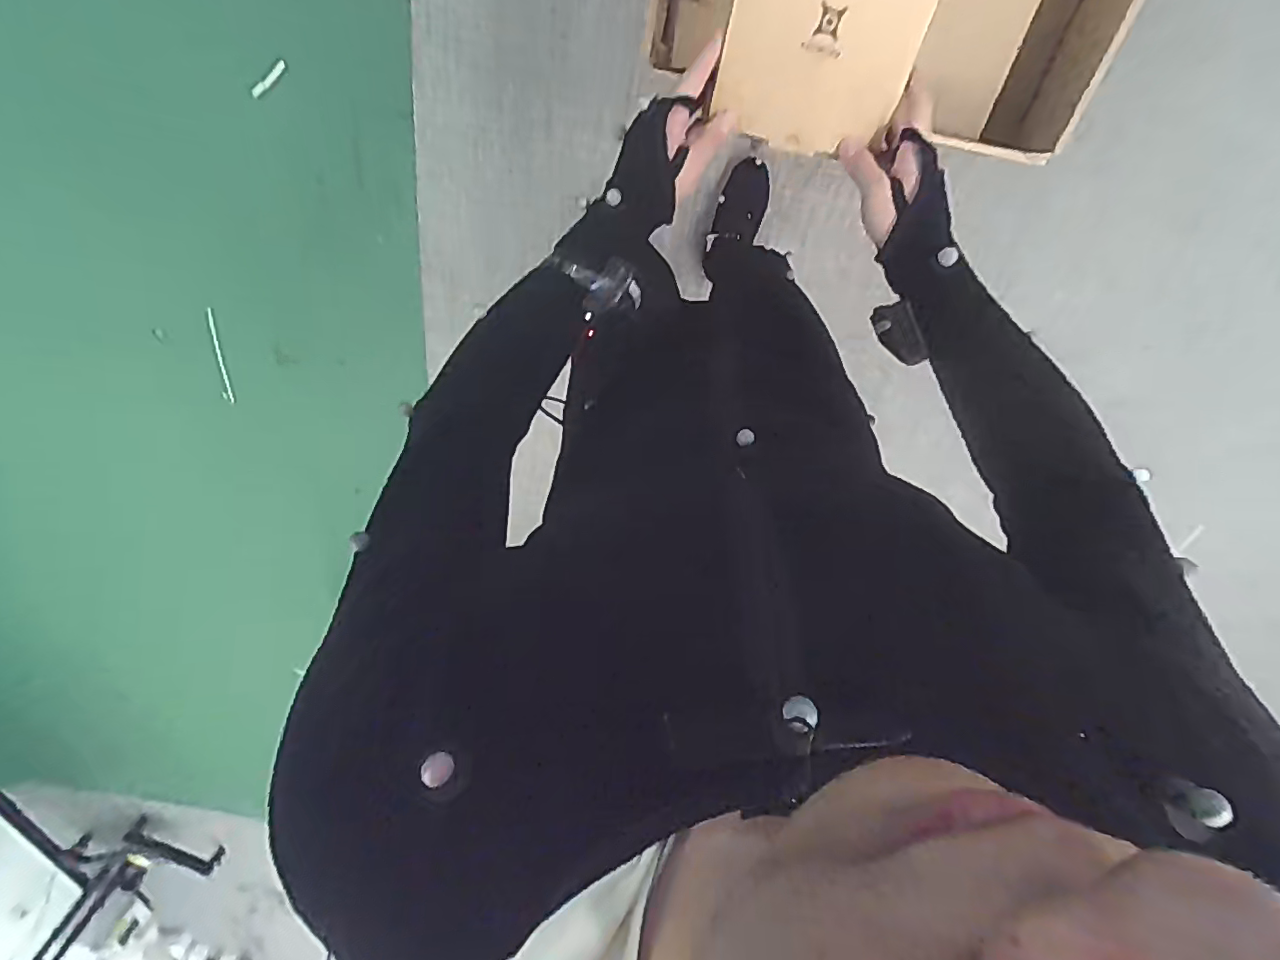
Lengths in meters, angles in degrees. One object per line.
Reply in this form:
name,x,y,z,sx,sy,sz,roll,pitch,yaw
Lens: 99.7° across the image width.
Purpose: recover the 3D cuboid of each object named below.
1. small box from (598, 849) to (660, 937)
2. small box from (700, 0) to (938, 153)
small box,-0.032,1.286,1.691,0.168,0.176,0.179,9,124,-1
small box,0.158,-0.433,0.509,0.168,0.176,0.179,9,127,-6
